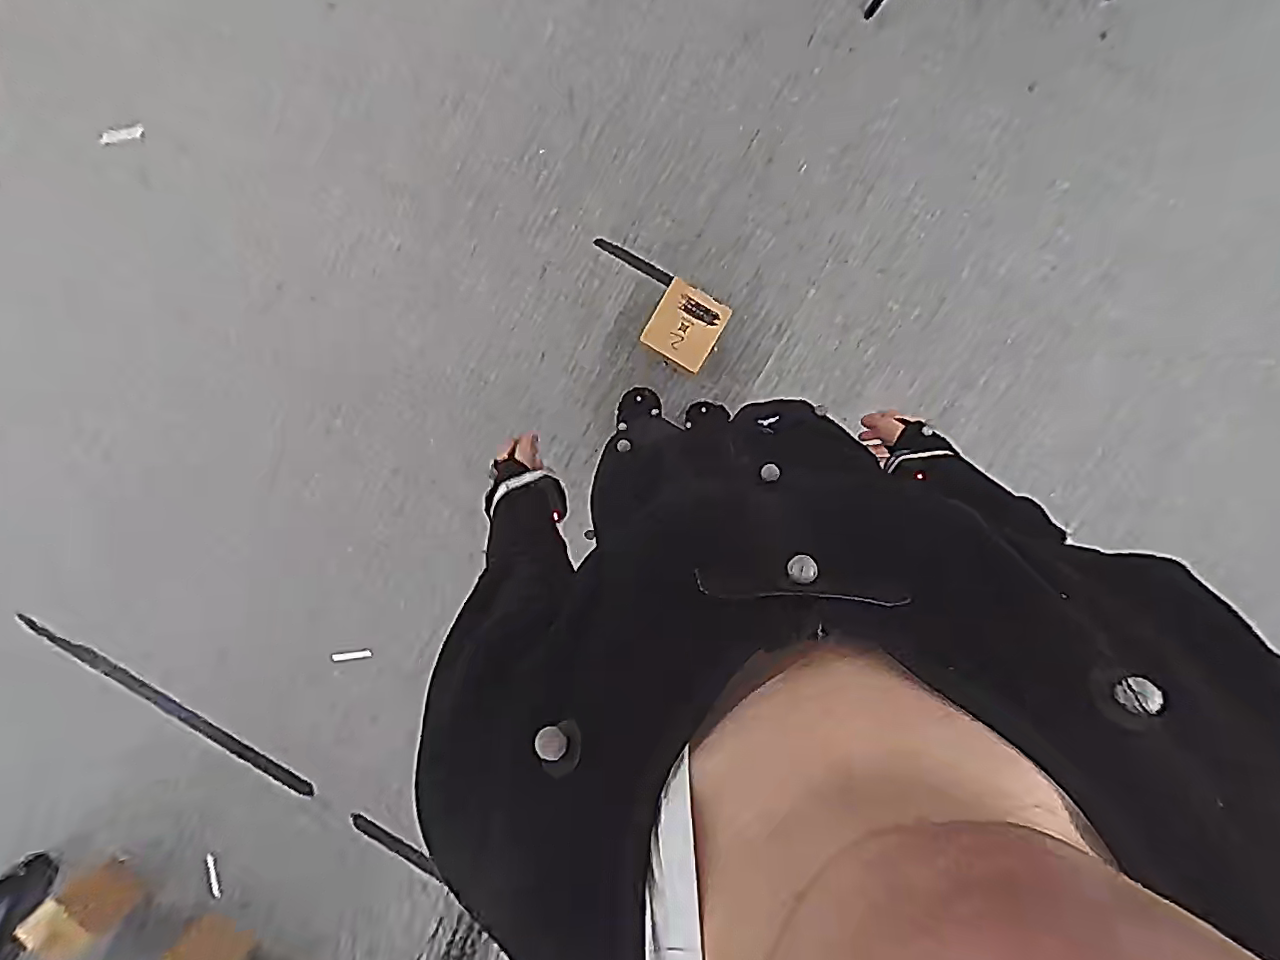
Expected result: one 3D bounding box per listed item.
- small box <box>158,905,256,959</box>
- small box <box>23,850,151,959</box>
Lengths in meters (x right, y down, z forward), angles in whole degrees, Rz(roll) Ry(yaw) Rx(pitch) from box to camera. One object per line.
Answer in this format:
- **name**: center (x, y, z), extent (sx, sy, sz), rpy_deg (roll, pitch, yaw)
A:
- **small box**: center (-1.325, 1.444, 1.634), extent (0.179, 0.176, 0.168), rpy_deg (35, 96, -1)
- **small box**: center (-1.663, 1.270, 1.635), extent (0.168, 0.176, 0.179), rpy_deg (-42, 93, 5)
